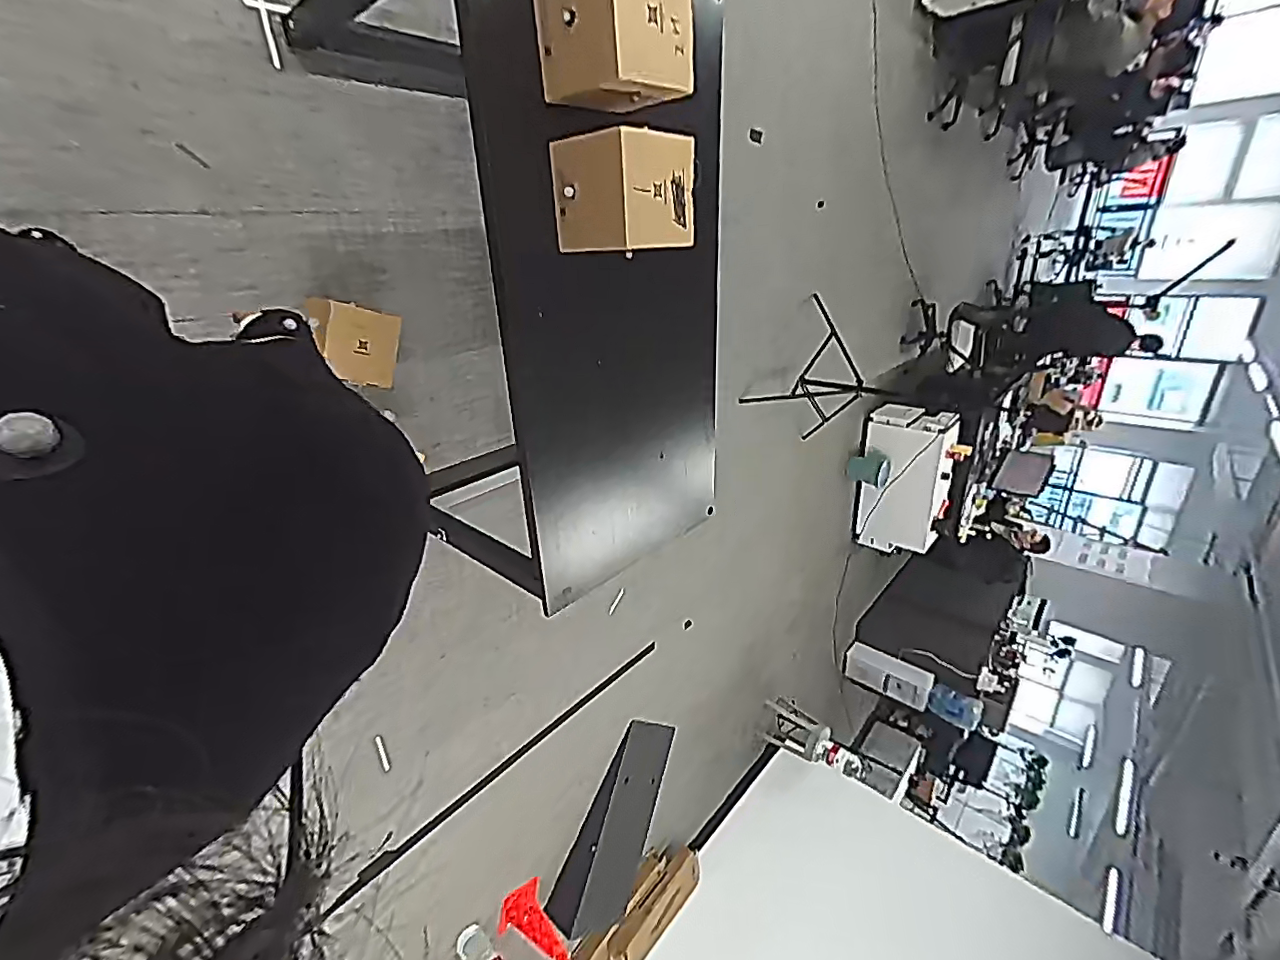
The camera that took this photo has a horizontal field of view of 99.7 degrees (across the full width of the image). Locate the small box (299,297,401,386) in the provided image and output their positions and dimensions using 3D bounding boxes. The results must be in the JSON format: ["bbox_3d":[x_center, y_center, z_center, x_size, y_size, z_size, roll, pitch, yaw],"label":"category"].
[{"bbox_3d":[-0.716,-0.340,1.326,0.168,0.176,0.179,3,101,-50],"label":"small box"}]

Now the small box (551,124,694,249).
[{"bbox_3d":[-0.027,-0.486,0.917,0.179,0.176,0.168,-25,122,-41],"label":"small box"}]
